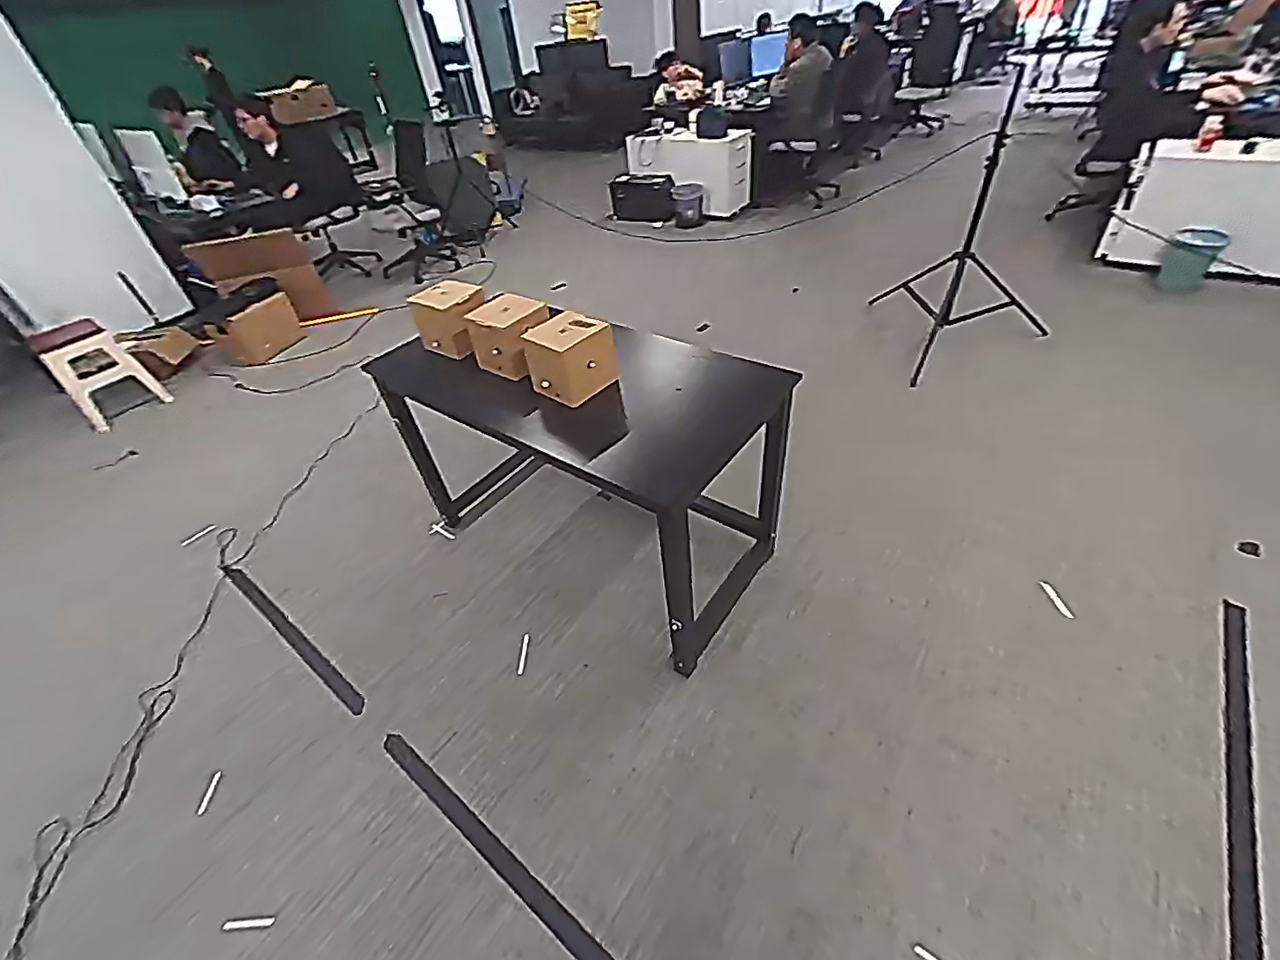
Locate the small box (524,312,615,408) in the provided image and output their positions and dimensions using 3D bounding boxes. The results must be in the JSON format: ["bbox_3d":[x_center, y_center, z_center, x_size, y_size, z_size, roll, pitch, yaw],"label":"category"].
[{"bbox_3d":[-0.180,-0.323,1.452,0.168,0.176,0.179,27,52,32],"label":"small box"}]

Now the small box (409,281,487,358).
[{"bbox_3d":[-0.584,-0.505,1.709,0.179,0.176,0.168,23,49,28],"label":"small box"}]

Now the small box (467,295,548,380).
[{"bbox_3d":[-0.370,-0.417,1.585,0.168,0.176,0.179,24,49,29],"label":"small box"}]
